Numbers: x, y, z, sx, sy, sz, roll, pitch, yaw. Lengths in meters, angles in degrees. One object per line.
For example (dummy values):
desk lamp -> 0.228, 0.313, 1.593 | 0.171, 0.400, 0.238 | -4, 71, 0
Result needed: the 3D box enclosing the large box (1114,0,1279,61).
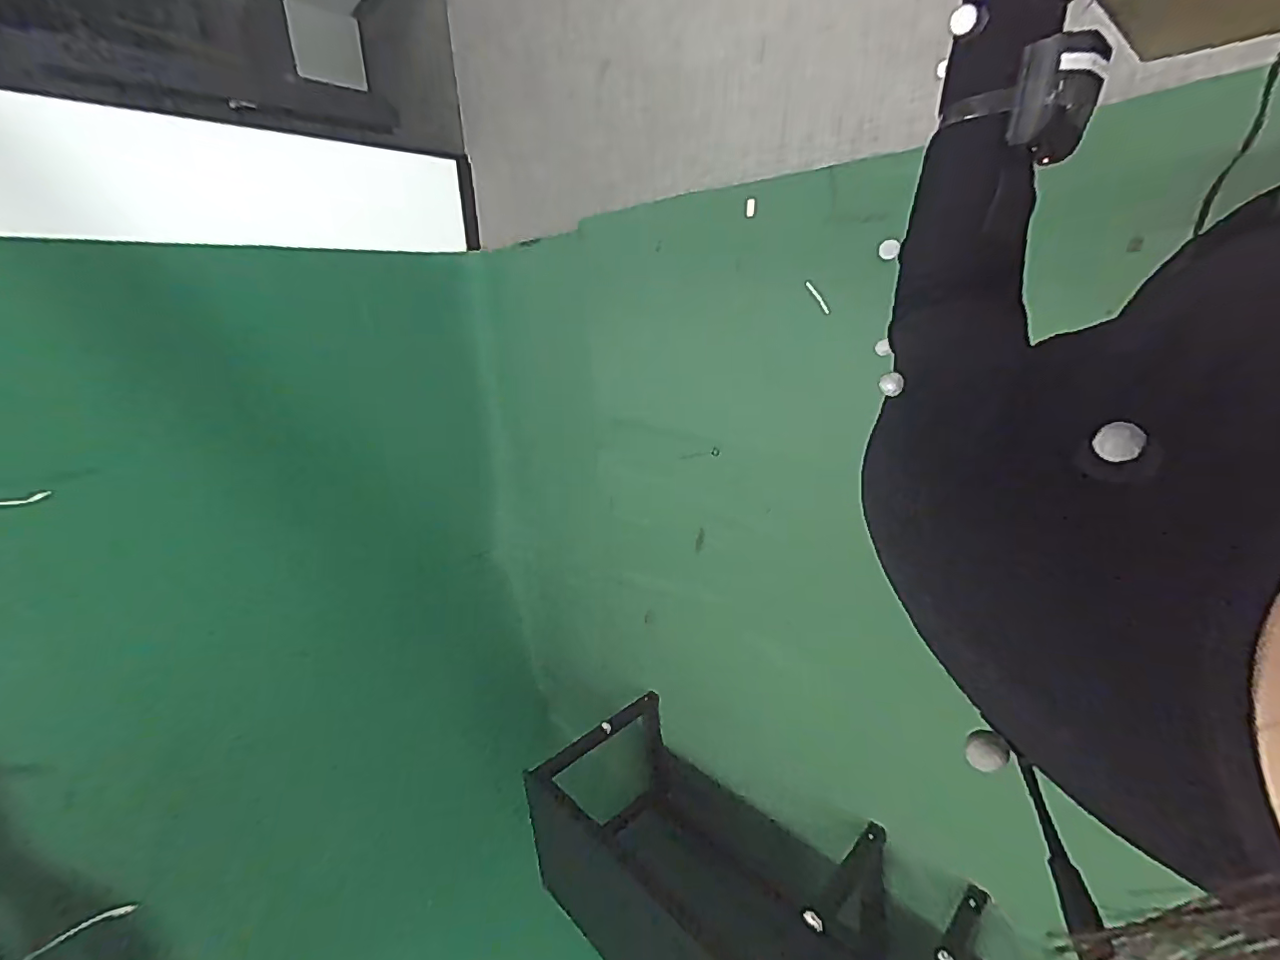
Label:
large box -> 0.508, -0.463, 0.243 | 0.408, 0.320, 0.320 | 17, 119, 43
